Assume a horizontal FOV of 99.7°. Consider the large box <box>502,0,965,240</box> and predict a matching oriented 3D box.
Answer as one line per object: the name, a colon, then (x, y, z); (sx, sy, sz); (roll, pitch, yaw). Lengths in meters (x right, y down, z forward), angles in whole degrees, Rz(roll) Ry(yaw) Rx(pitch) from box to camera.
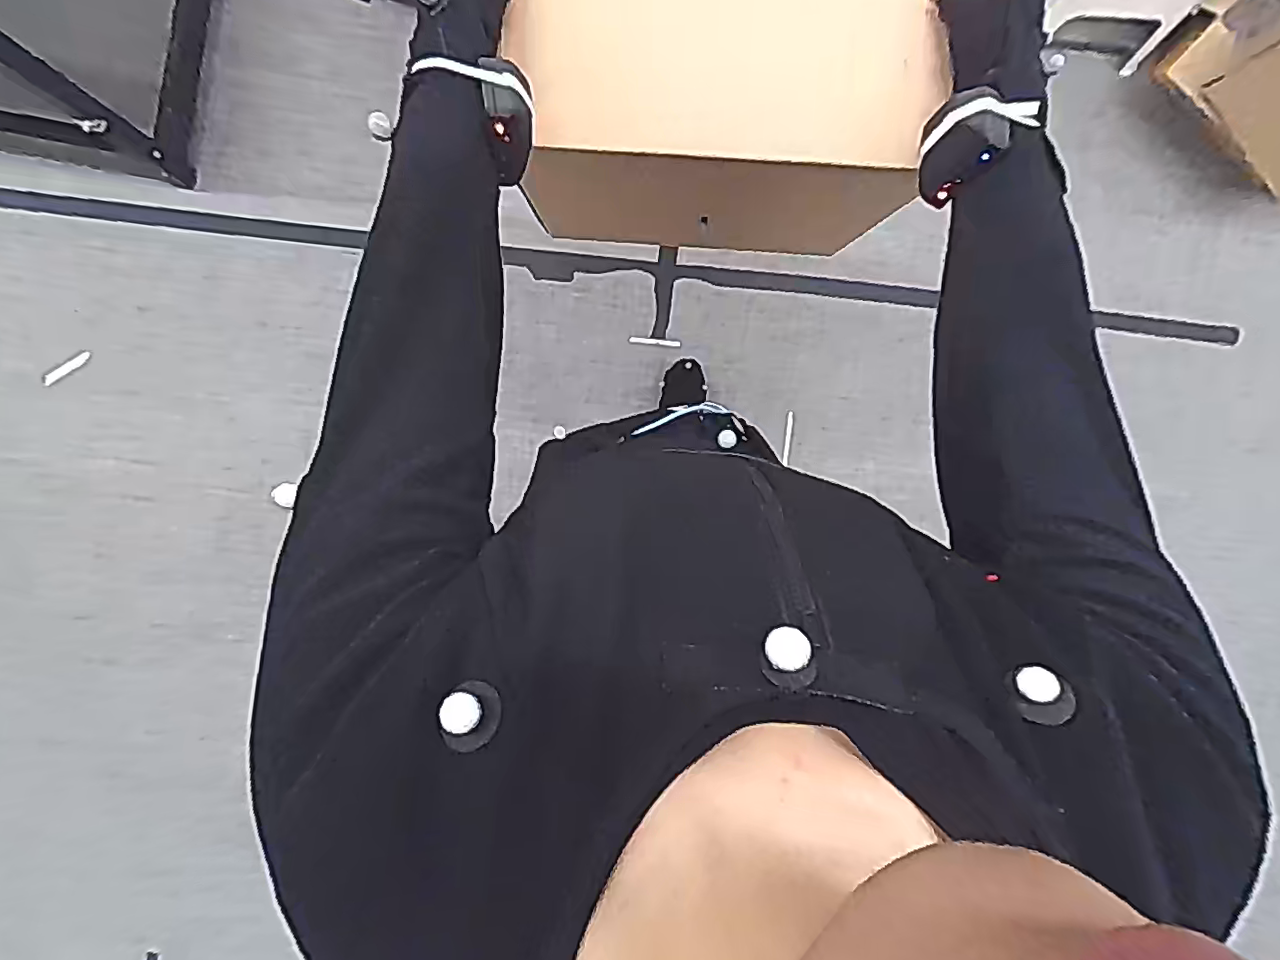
large box: (0.083, -0.470, 0.601); (0.408, 0.320, 0.320); (3, 99, -1)
